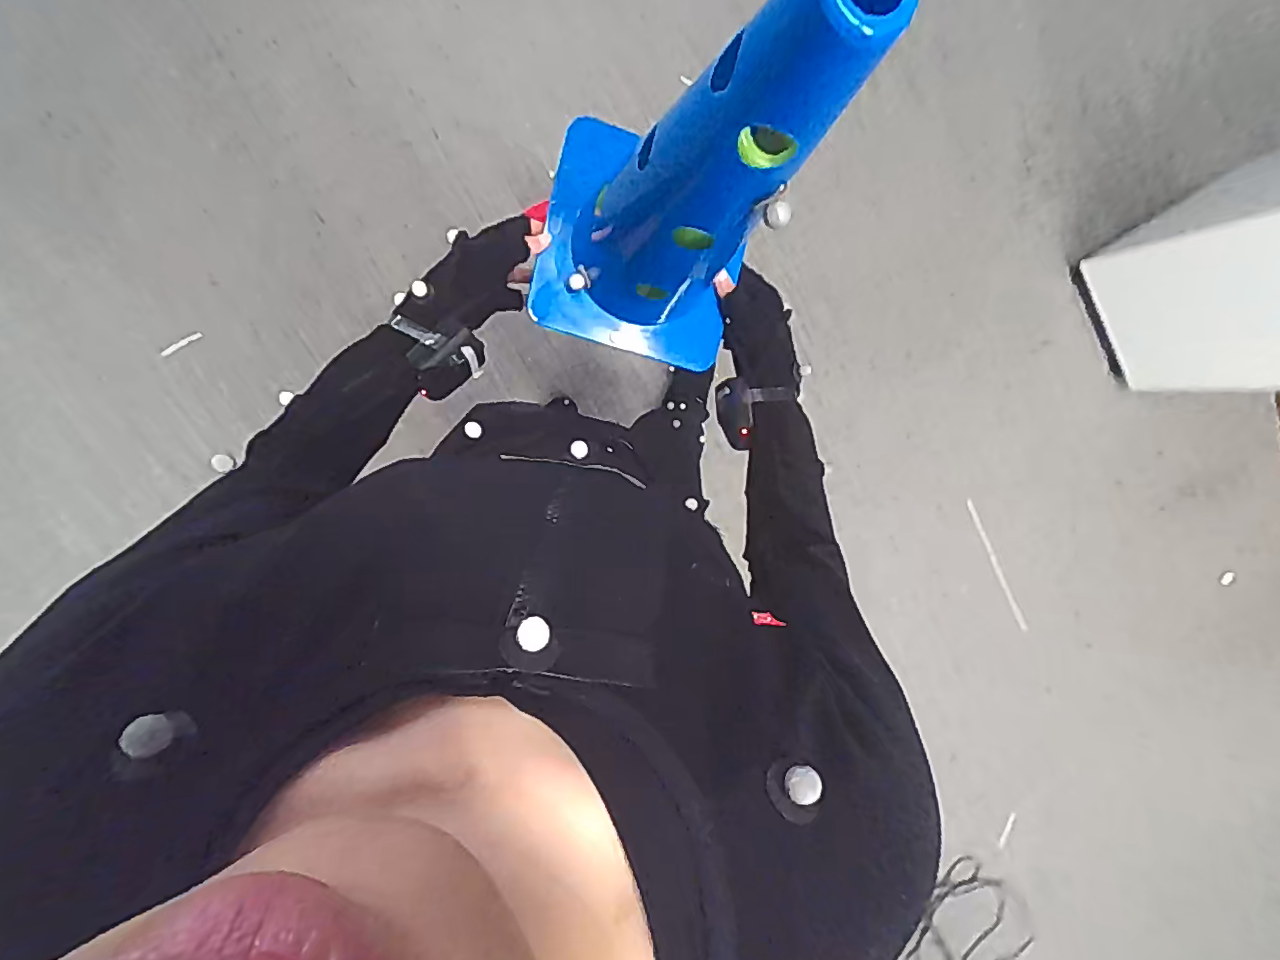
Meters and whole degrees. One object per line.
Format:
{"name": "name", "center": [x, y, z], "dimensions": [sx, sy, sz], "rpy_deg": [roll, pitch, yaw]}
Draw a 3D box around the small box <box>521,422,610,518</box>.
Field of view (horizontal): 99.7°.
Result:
{"name": "small box", "center": [-0.198, -0.031, 1.403], "dimensions": [0.168, 0.176, 0.179], "rpy_deg": [24, 99, -19]}
